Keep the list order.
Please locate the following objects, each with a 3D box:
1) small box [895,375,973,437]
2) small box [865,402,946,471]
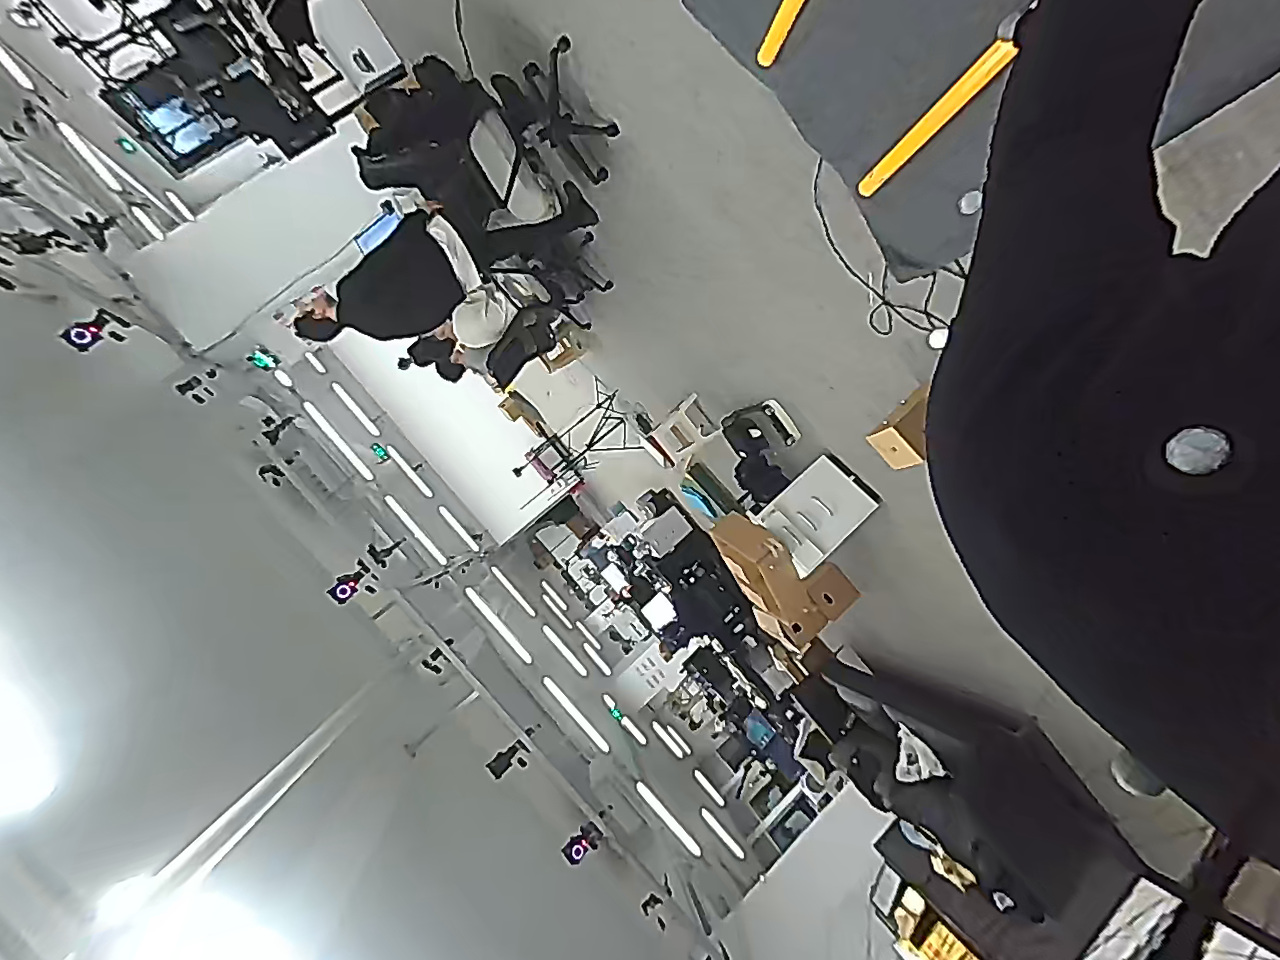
[{"bbox_3d":[1.089,-0.262,1.996,0.168,0.176,0.179,49,169,0],"label":"small box"},{"bbox_3d":[0.965,-0.159,1.956,0.168,0.176,0.179,49,169,1],"label":"small box"}]
